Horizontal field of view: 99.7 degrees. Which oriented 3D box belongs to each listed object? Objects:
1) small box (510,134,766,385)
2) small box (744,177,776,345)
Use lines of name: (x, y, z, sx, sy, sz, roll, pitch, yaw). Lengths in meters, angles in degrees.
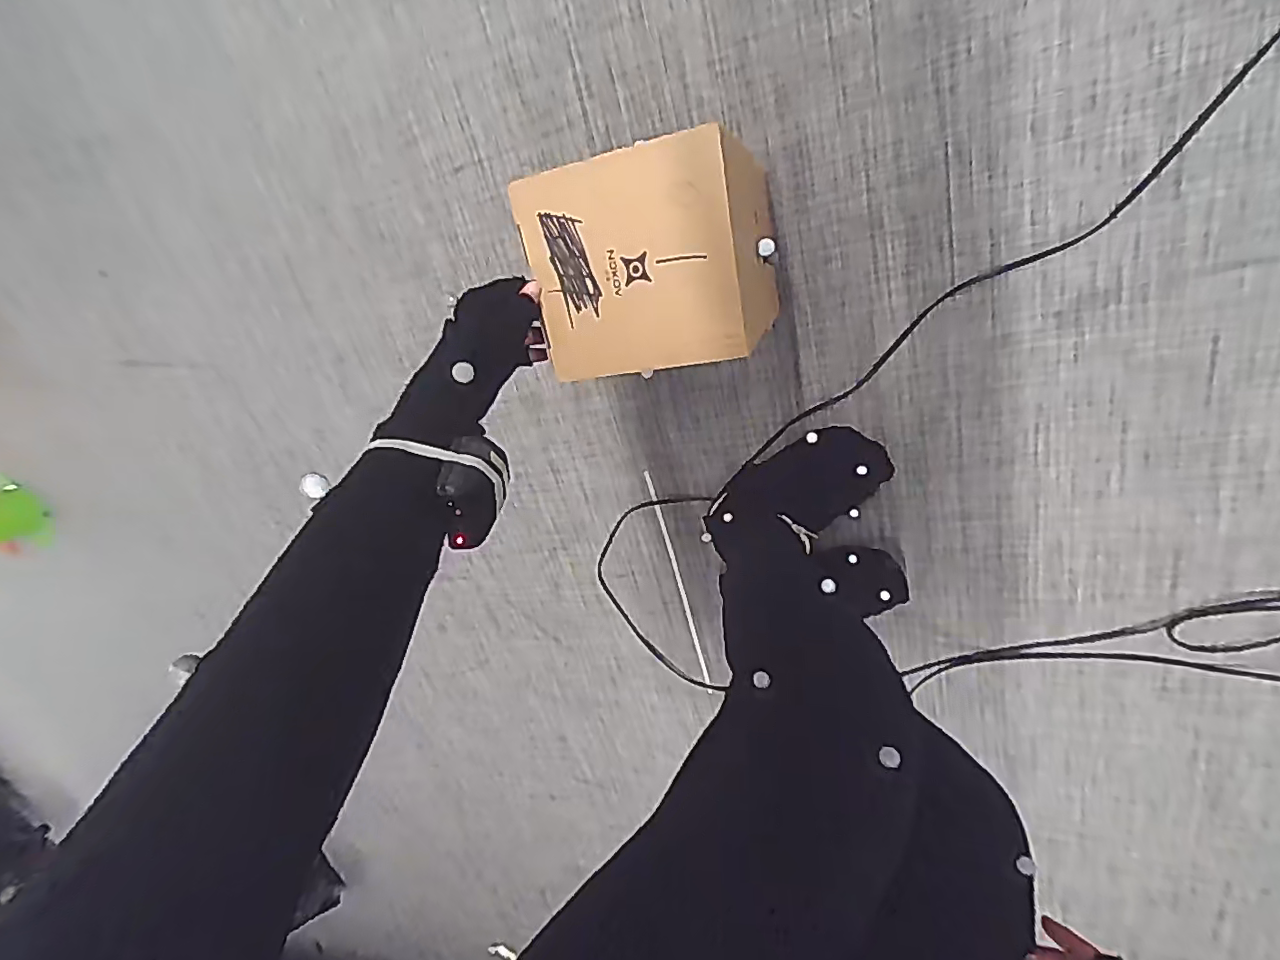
small box: (0.014, -0.194, 0.501, 0.179, 0.176, 0.168, -3, 113, 21)
small box: (0.065, -0.256, 0.645, 0.168, 0.176, 0.179, -4, 113, 21)
